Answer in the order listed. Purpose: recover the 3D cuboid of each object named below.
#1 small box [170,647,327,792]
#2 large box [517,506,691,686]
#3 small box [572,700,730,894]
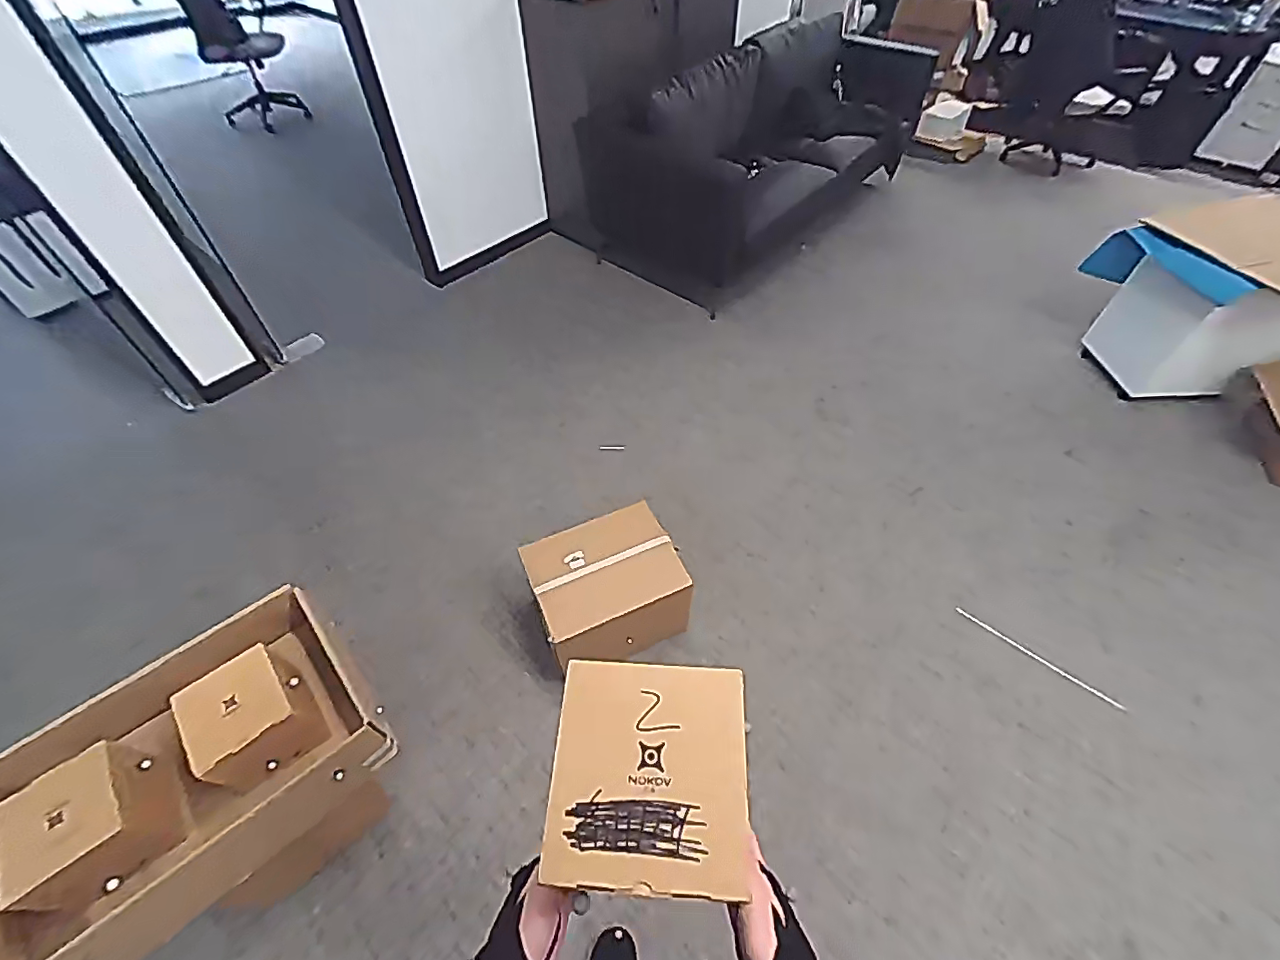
[{"bbox_3d":[-0.747,0.465,1.045,0.168,0.176,0.179,-34,60,-25],"label":"small box"},{"bbox_3d":[-0.101,0.343,1.601,0.408,0.320,0.320,-21,54,-15],"label":"large box"},{"bbox_3d":[0.021,0.385,0.659,0.168,0.176,0.179,2,54,4],"label":"small box"}]
